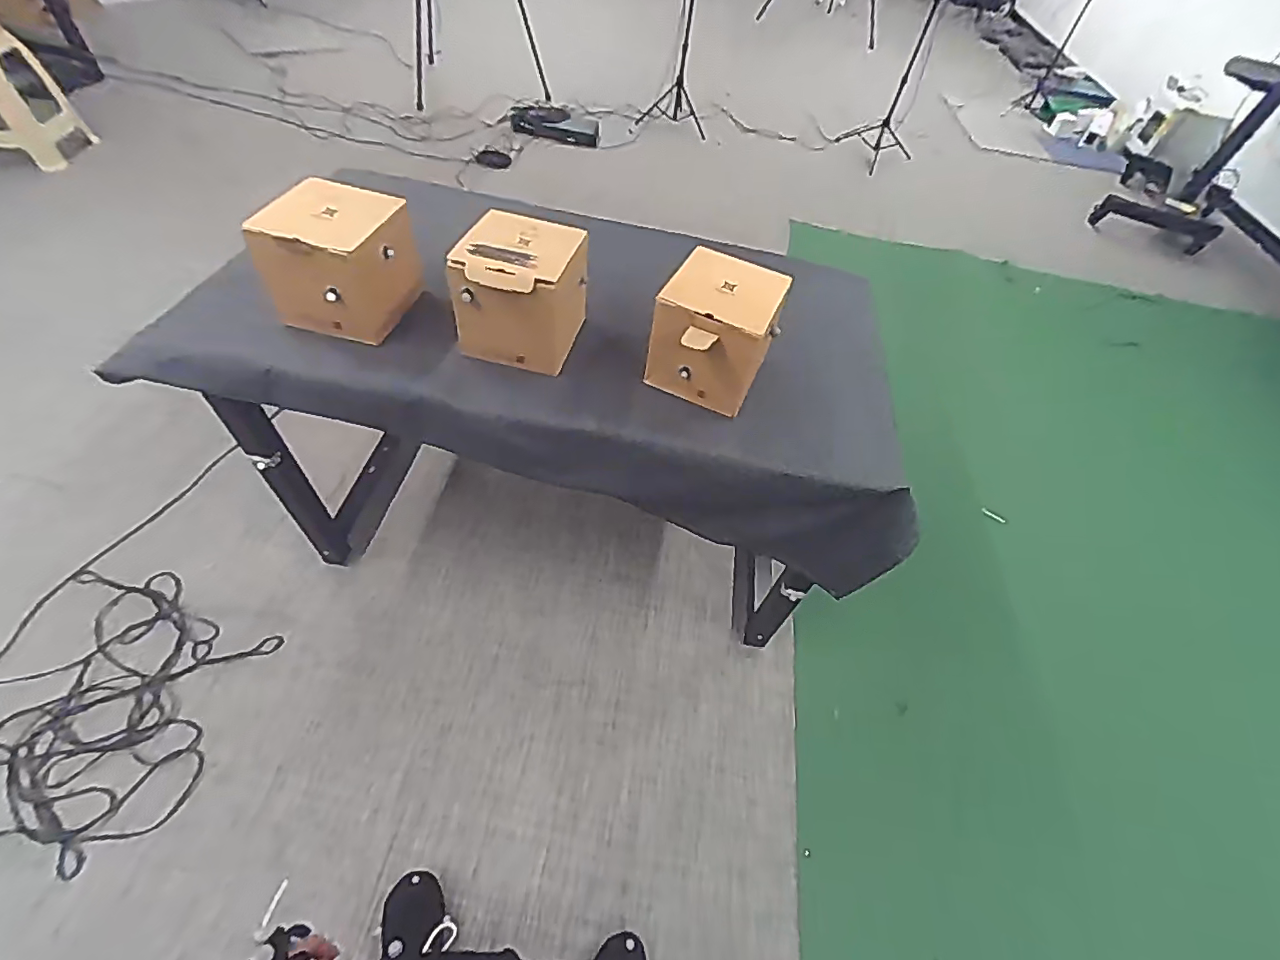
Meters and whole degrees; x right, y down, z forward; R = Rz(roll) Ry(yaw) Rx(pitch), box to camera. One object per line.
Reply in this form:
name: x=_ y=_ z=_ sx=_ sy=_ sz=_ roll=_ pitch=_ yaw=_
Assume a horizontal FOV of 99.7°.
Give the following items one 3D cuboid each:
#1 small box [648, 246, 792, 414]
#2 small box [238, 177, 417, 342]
small box: x=0.122 y=-0.241 z=0.877 sx=0.168 sy=0.176 sz=0.179 roll=24 pitch=53 yaw=10
small box: x=-0.480 y=-0.350 z=0.869 sx=0.168 sy=0.176 sz=0.179 roll=14 pitch=50 yaw=0
